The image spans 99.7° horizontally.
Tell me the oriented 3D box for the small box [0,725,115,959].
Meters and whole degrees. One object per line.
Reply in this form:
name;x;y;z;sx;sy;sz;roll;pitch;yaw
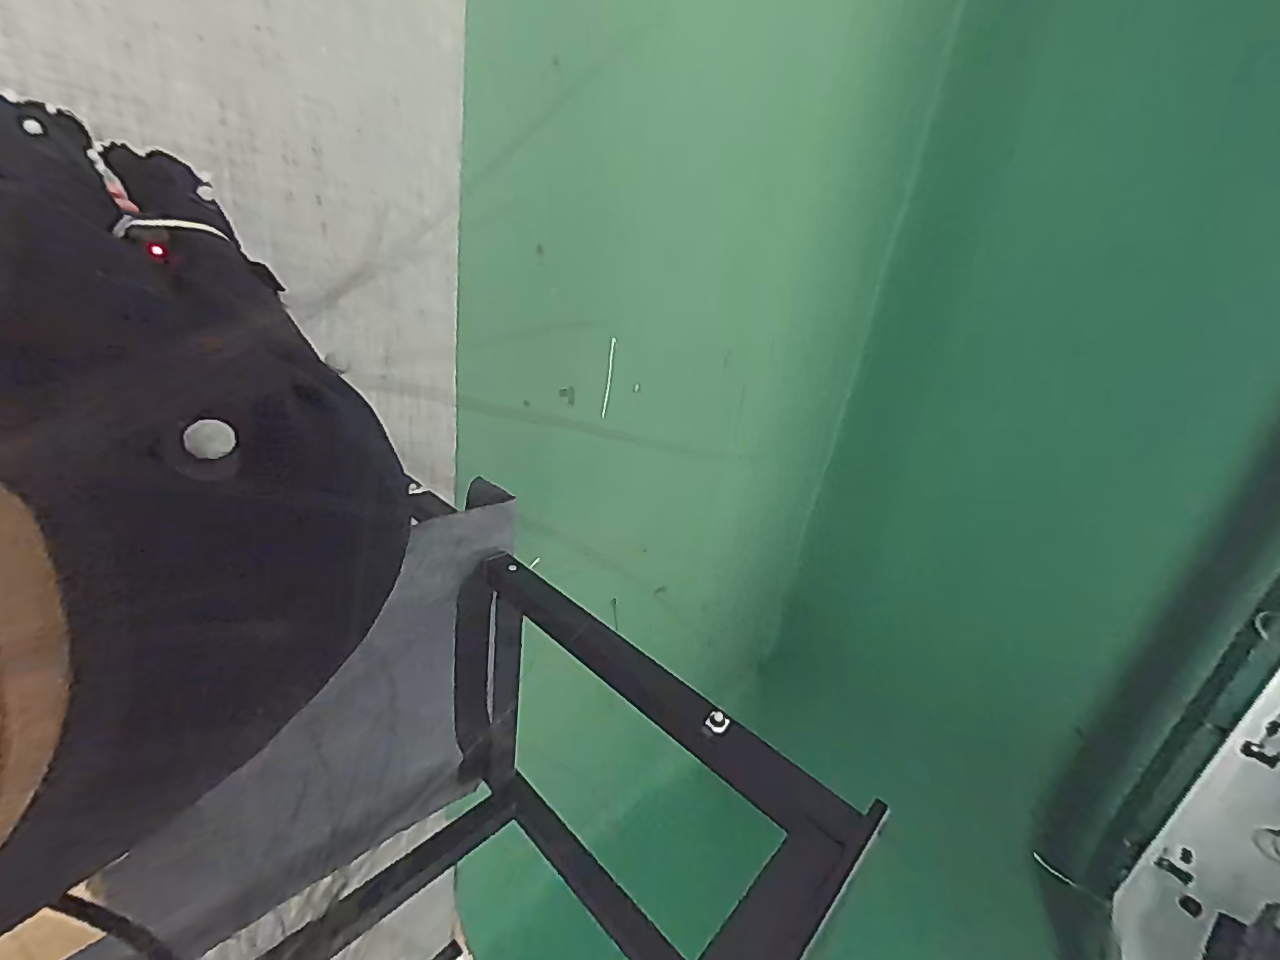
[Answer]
small box;-0.682;0.397;0.554;0.168;0.176;0.179;-20;126;-45
